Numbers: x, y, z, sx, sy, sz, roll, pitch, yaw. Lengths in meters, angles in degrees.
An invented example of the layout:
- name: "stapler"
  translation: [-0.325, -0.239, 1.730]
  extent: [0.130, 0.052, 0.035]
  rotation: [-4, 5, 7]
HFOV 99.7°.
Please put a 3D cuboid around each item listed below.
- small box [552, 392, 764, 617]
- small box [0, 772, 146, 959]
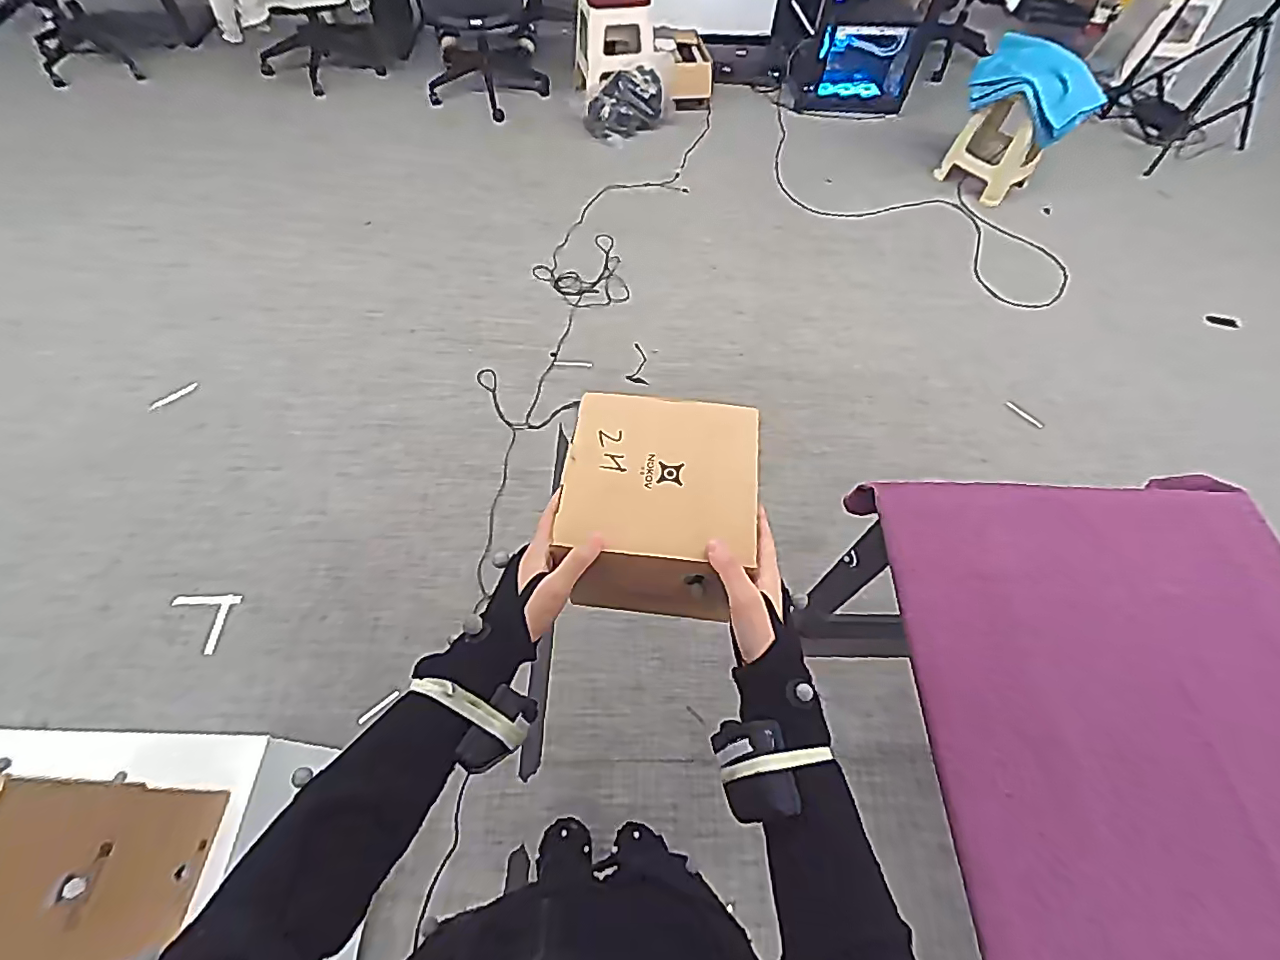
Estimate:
- name: "small box"
  translation: [0.022, 0.033, 0.552]
  extent: [0.179, 0.176, 0.168]
  rotation: [6, 60, 4]
- name: "small box"
  translation: [-0.625, 0.357, 0.486]
  extent: [0.179, 0.176, 0.168]
  rotation: [4, 60, -1]
